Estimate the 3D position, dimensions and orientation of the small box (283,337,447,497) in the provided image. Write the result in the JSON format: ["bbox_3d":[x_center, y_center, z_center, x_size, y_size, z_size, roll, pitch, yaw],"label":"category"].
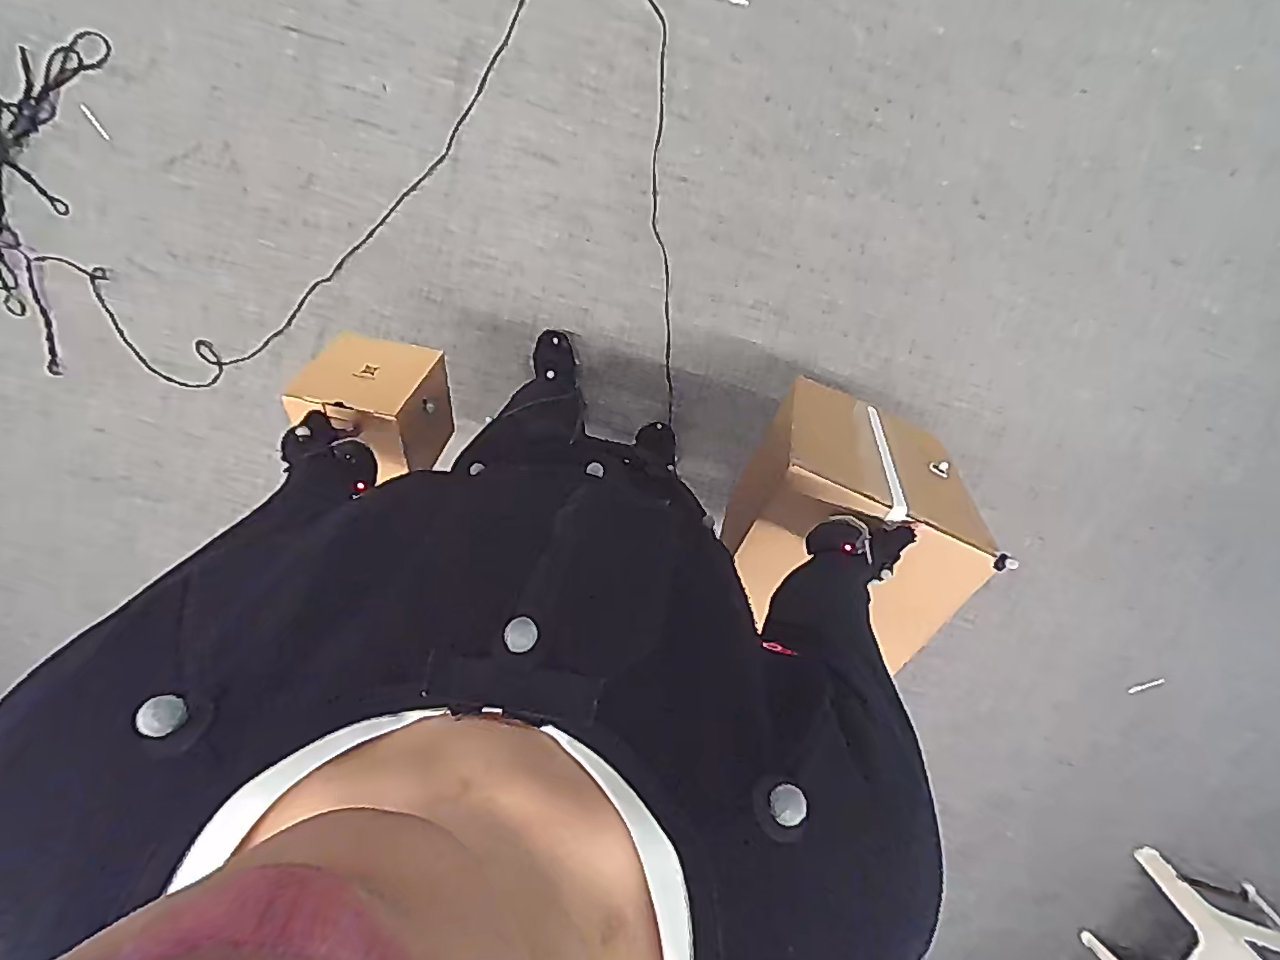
[{"bbox_3d":[-0.423,-0.101,0.870,0.168,0.179,0.176,10,135,0],"label":"small box"}]
